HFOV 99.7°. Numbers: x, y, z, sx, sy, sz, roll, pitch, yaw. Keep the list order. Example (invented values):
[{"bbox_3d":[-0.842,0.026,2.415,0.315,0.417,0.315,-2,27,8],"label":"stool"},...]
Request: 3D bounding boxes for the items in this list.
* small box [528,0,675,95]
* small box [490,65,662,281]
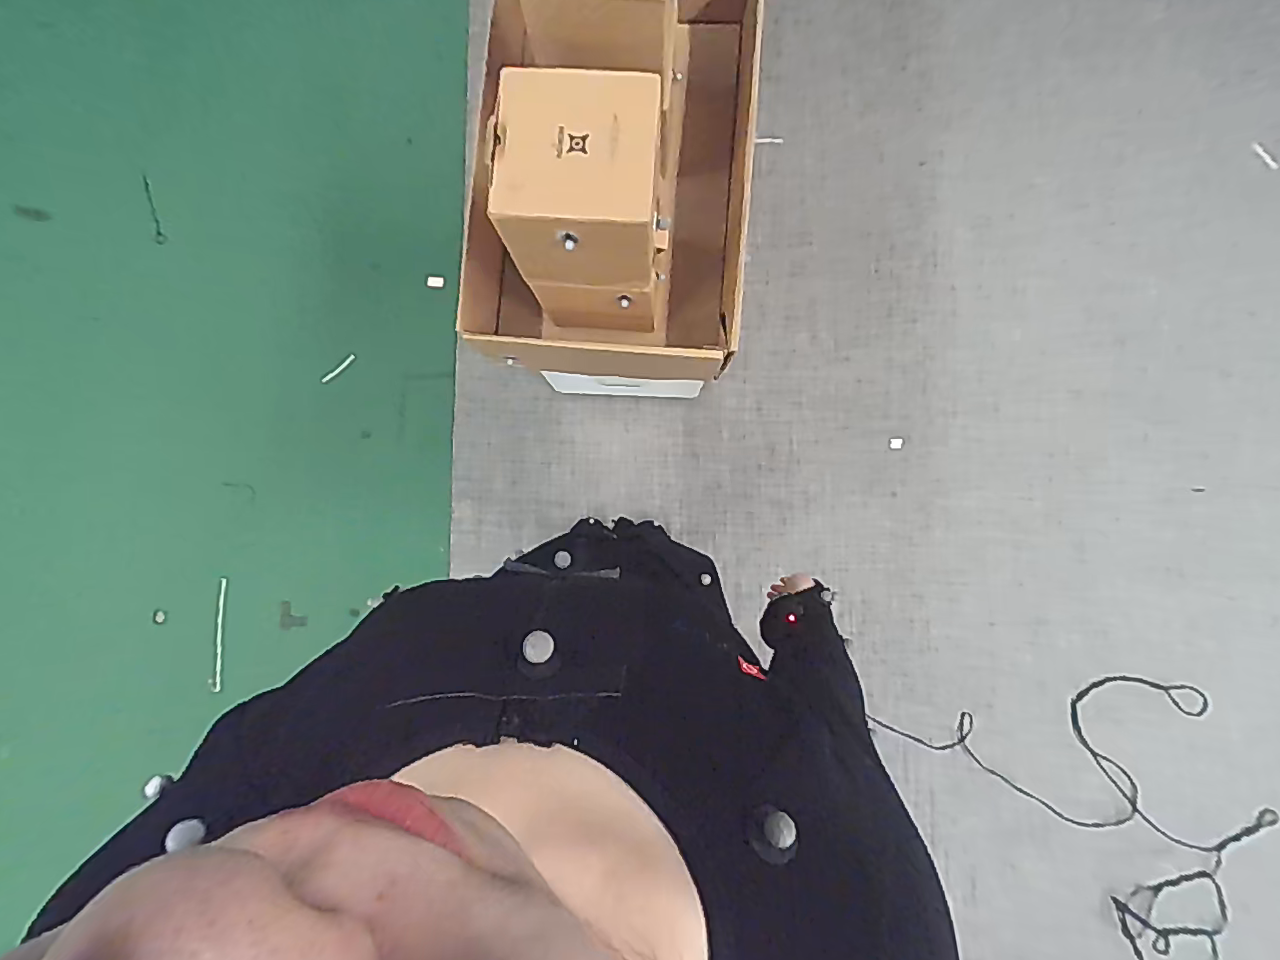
[{"bbox_3d":[-0.041,-0.611,0.665,0.168,0.176,0.179,6,90,1],"label":"small box"},{"bbox_3d":[-0.067,-0.357,0.658,0.179,0.176,0.168,4,88,1],"label":"small box"}]
